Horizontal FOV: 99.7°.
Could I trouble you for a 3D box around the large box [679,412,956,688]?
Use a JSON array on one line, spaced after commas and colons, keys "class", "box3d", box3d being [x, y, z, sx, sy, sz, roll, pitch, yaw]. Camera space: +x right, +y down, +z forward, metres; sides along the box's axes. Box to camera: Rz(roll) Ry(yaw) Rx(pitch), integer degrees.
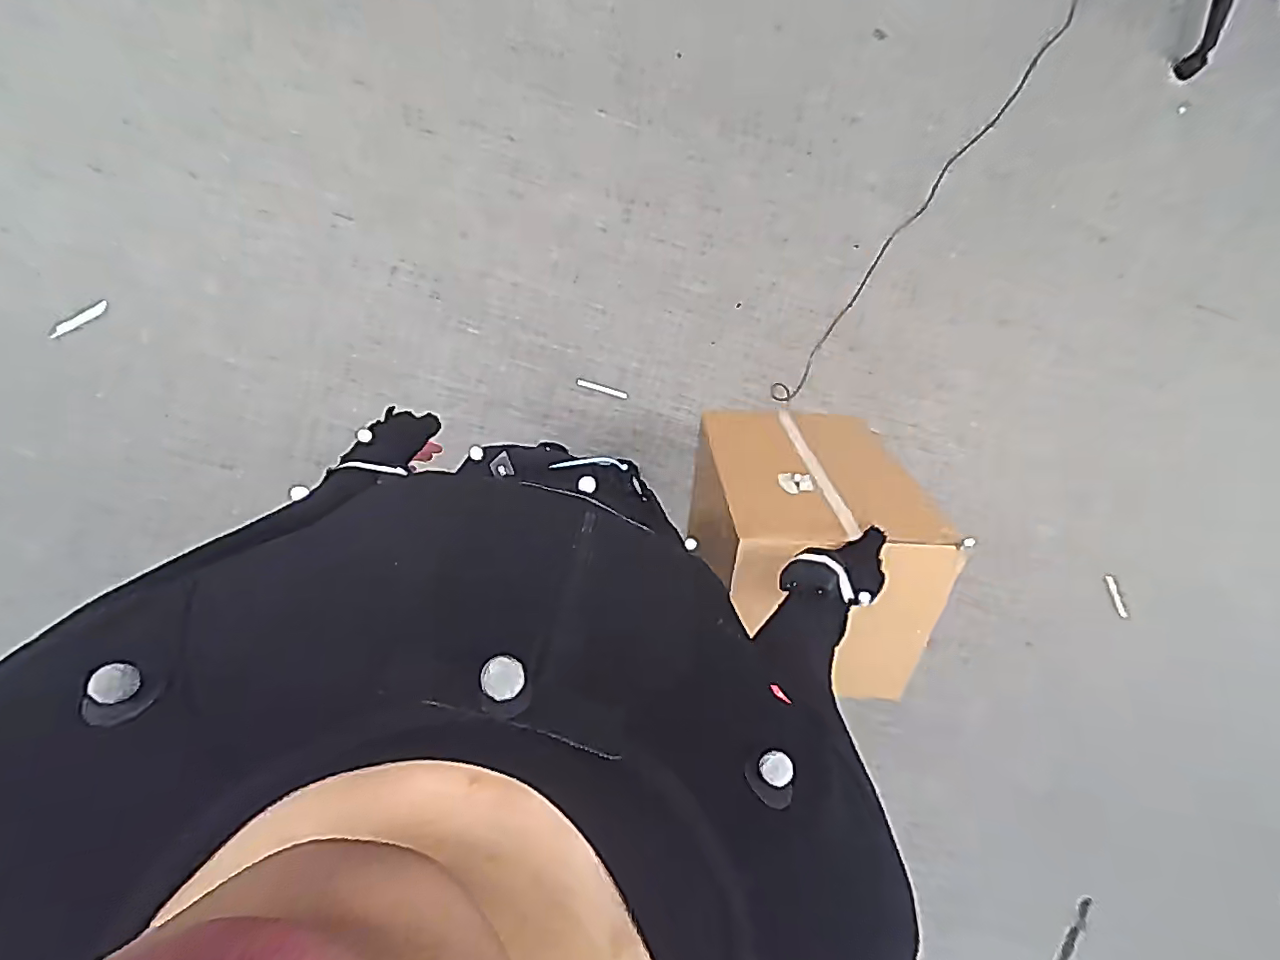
[{"class": "large box", "box3d": [0.259, 0.108, 0.969, 0.320, 0.408, 0.320, 1, 123, -4]}]
